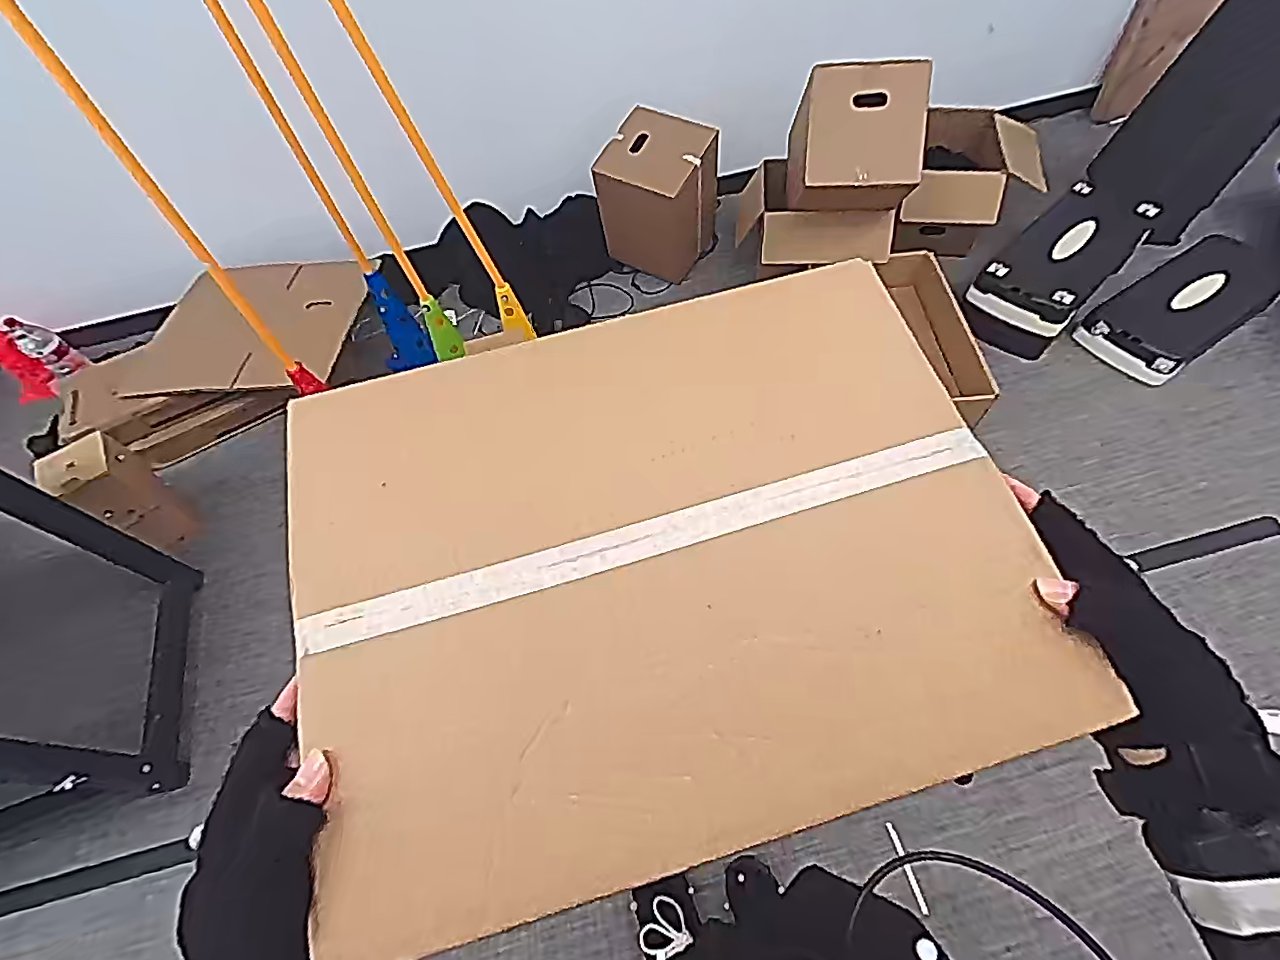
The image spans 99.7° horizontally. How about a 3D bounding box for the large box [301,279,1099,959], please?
[{"bbox_3d":[0.015,0.100,0.455,0.408,0.320,0.320,-16,67,-4],"label":"large box"}]
